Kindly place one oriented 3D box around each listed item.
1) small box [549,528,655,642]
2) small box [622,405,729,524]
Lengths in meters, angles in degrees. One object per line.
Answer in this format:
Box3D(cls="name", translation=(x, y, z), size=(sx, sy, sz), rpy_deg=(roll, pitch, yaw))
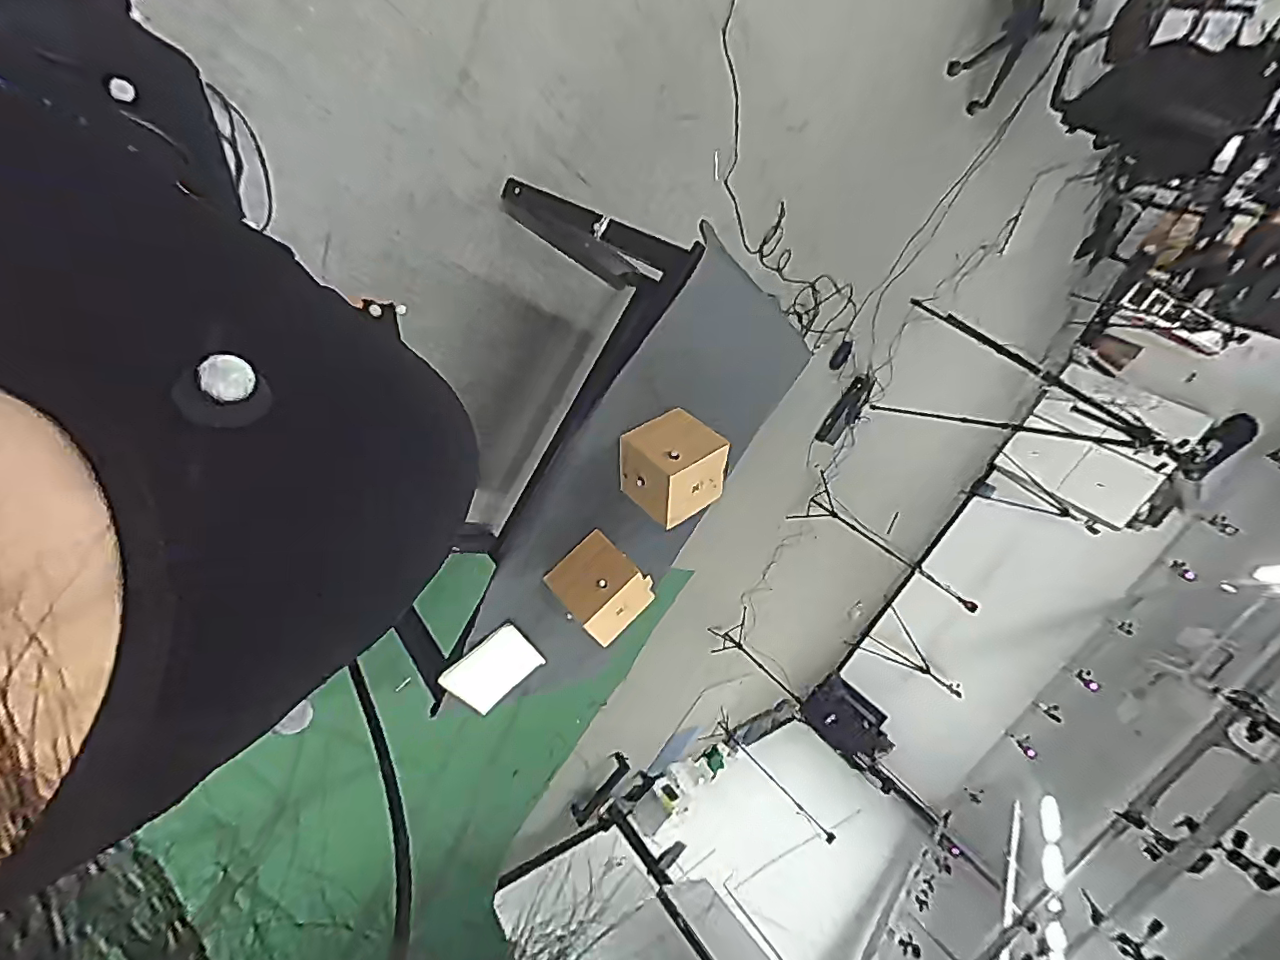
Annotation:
Box3D(cls="small box", translation=(-0.095, 0.250, 1.297), size=(0.179, 0.176, 0.168), rpy_deg=(-43, 146, -13))
Box3D(cls="small box", translation=(0.071, -0.040, 1.214), size=(0.179, 0.176, 0.168), rpy_deg=(-30, 142, -28))
